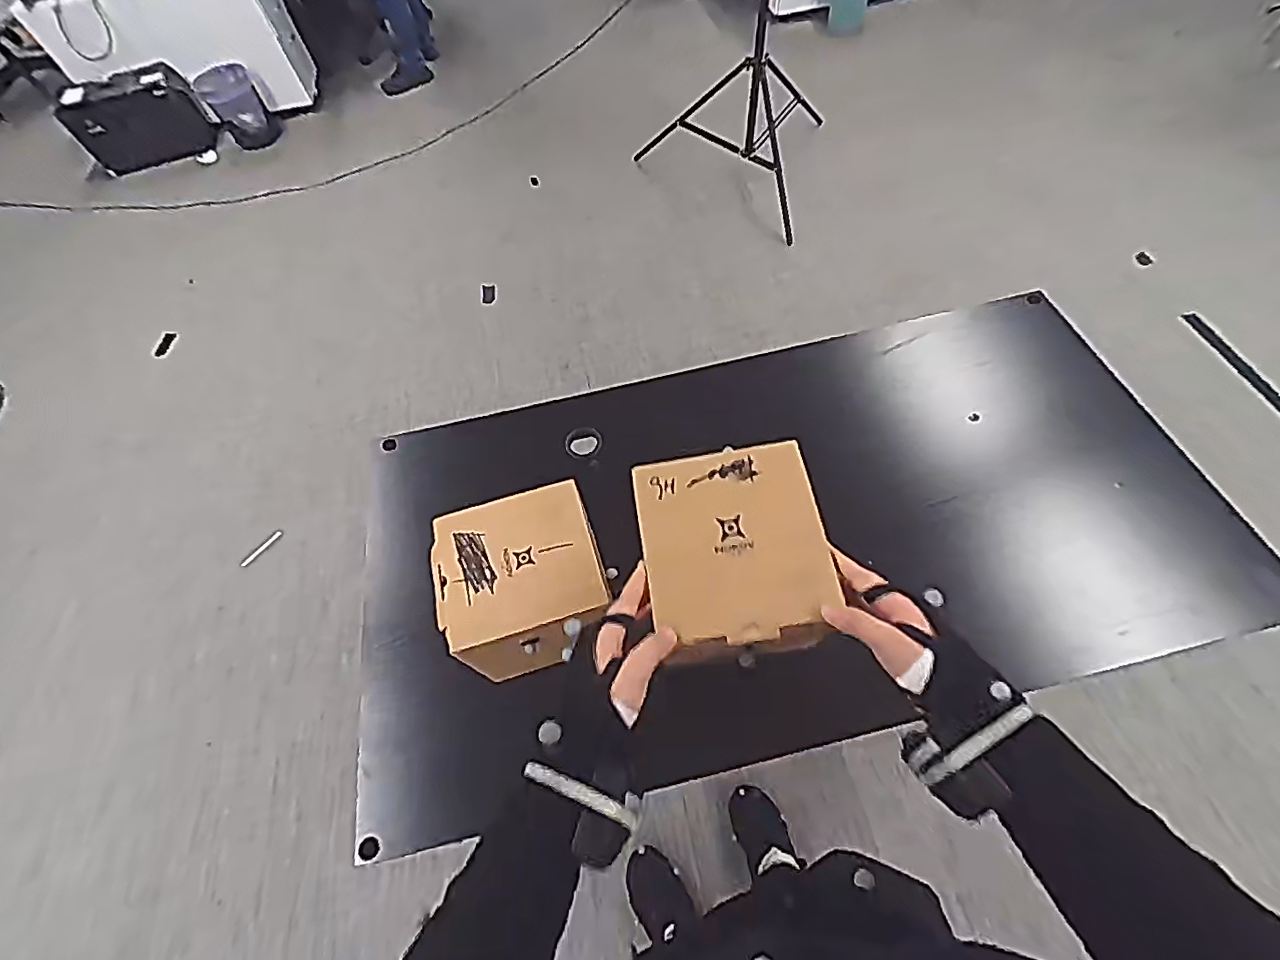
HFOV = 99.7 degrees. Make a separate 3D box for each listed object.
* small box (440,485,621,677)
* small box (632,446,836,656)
[{"bbox_3d":[-0.132,0.135,0.688,0.179,0.176,0.168,-16,60,-6],"label":"small box"},{"bbox_3d":[0.092,0.088,0.581,0.168,0.176,0.179,-10,66,3],"label":"small box"}]
